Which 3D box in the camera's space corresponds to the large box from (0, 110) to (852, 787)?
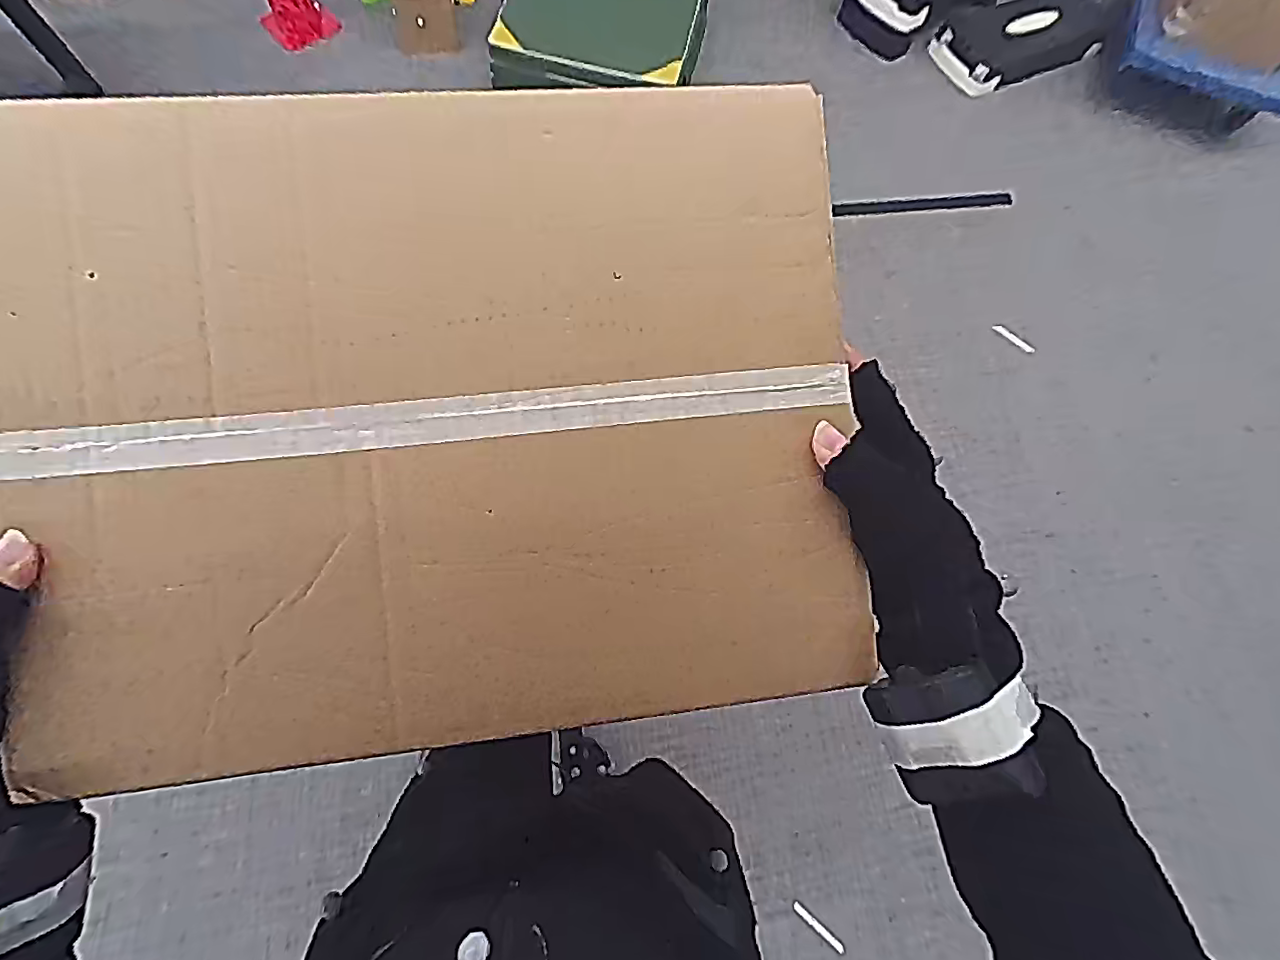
[{"bbox_3d":[-0.108,-0.028,0.420,0.408,0.320,0.320,-5,90,-6],"label":"large box"}]
